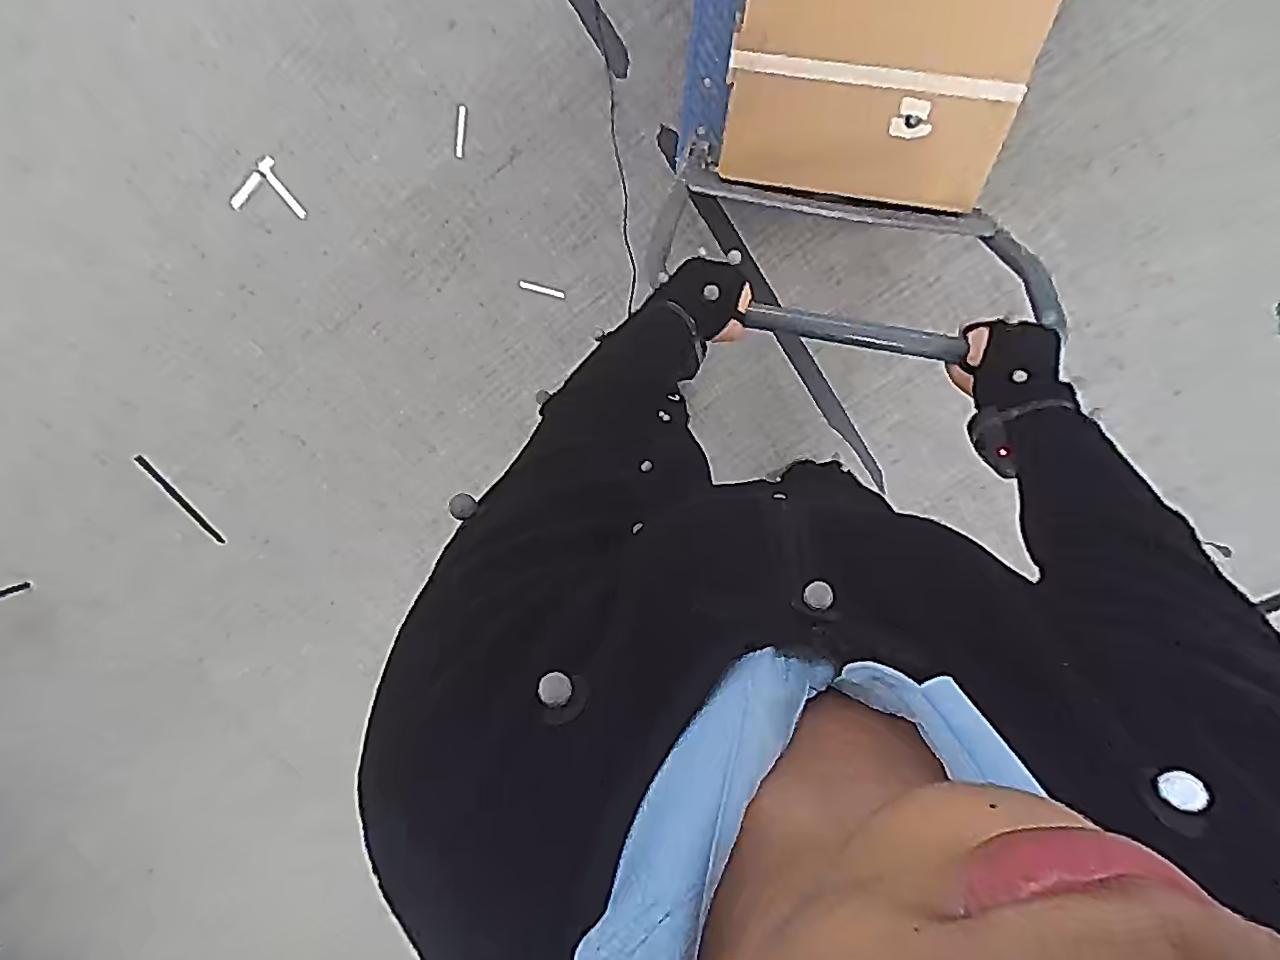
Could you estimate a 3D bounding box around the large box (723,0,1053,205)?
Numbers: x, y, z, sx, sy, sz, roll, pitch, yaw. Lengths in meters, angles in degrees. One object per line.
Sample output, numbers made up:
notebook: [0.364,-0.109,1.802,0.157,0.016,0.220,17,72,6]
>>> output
large box: [0.364,-0.677,0.902,0.408,0.320,0.320,10,128,4]
